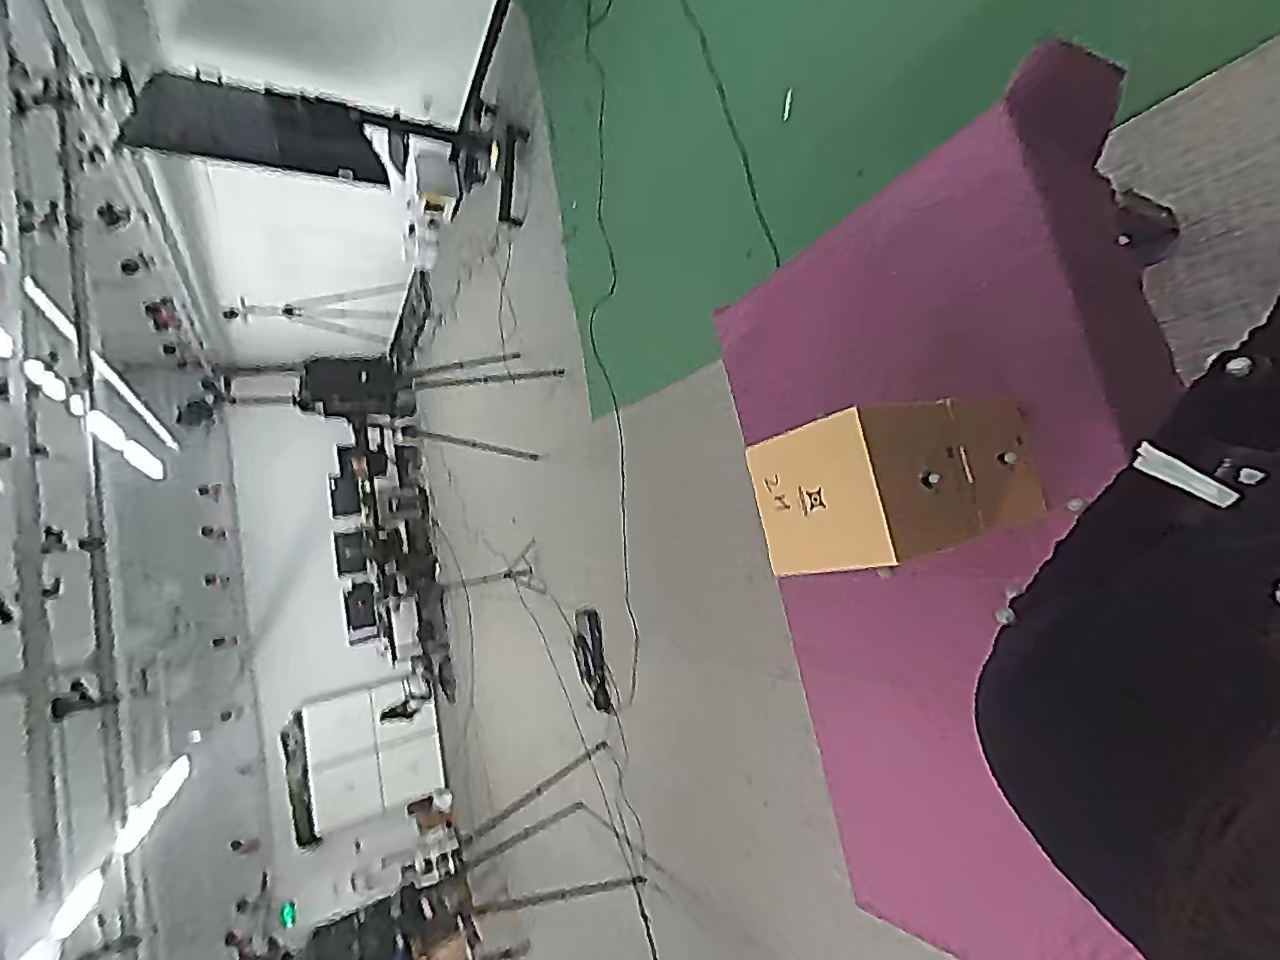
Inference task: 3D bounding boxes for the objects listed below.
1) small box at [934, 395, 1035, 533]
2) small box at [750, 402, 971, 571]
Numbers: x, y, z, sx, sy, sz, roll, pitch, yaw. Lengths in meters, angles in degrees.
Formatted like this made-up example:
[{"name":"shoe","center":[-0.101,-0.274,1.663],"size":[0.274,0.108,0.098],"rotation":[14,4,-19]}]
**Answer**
[{"name":"small box","center":[0.407,-0.014,0.745],"size":[0.179,0.176,0.168],"rotation":[-22,78,57]},{"name":"small box","center":[0.269,0.008,0.657],"size":[0.179,0.176,0.168],"rotation":[-23,77,57]}]
